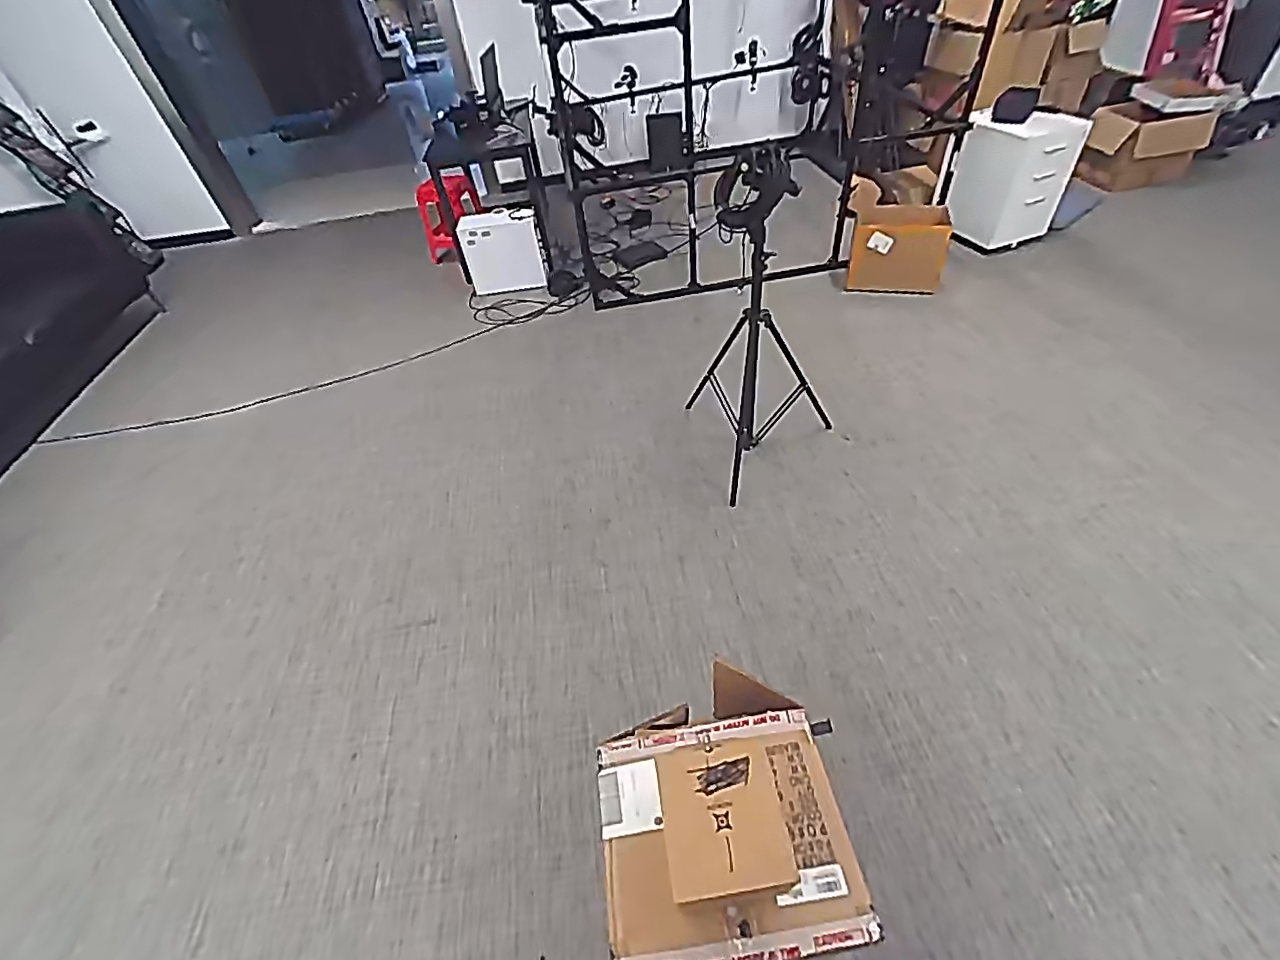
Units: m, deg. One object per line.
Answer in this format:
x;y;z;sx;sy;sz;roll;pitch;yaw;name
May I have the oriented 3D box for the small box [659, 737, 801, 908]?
0.122;0.509;0.802;0.168;0.176;0.179;-9;49;0;small box
